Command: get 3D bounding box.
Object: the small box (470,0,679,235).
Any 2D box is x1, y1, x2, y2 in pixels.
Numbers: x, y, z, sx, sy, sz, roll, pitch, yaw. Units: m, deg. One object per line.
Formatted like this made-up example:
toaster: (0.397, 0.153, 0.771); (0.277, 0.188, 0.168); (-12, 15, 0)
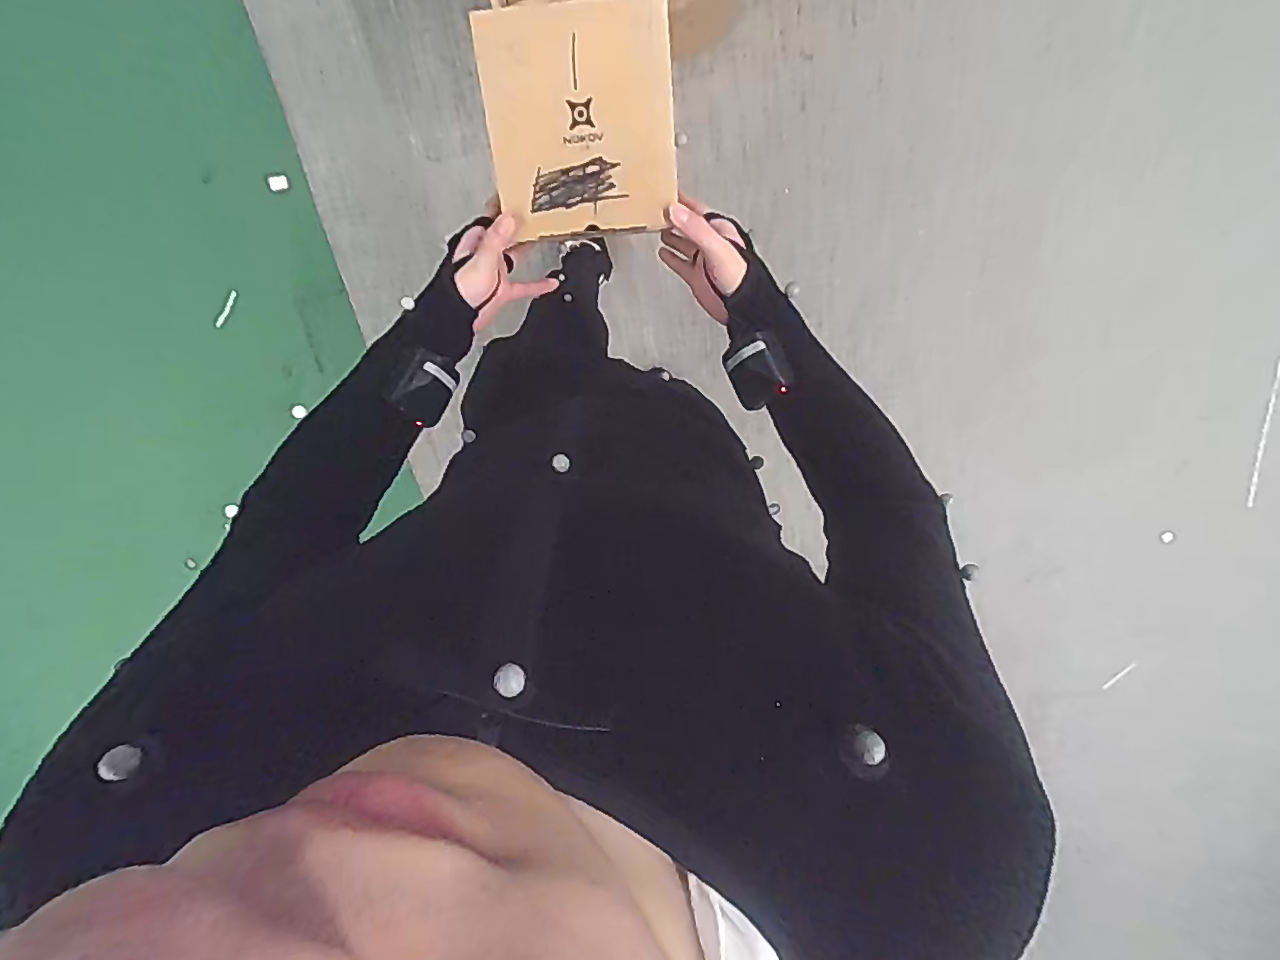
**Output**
small box: (-0.049, -0.343, 0.533); (0.168, 0.176, 0.179); (-4, 113, 2)
